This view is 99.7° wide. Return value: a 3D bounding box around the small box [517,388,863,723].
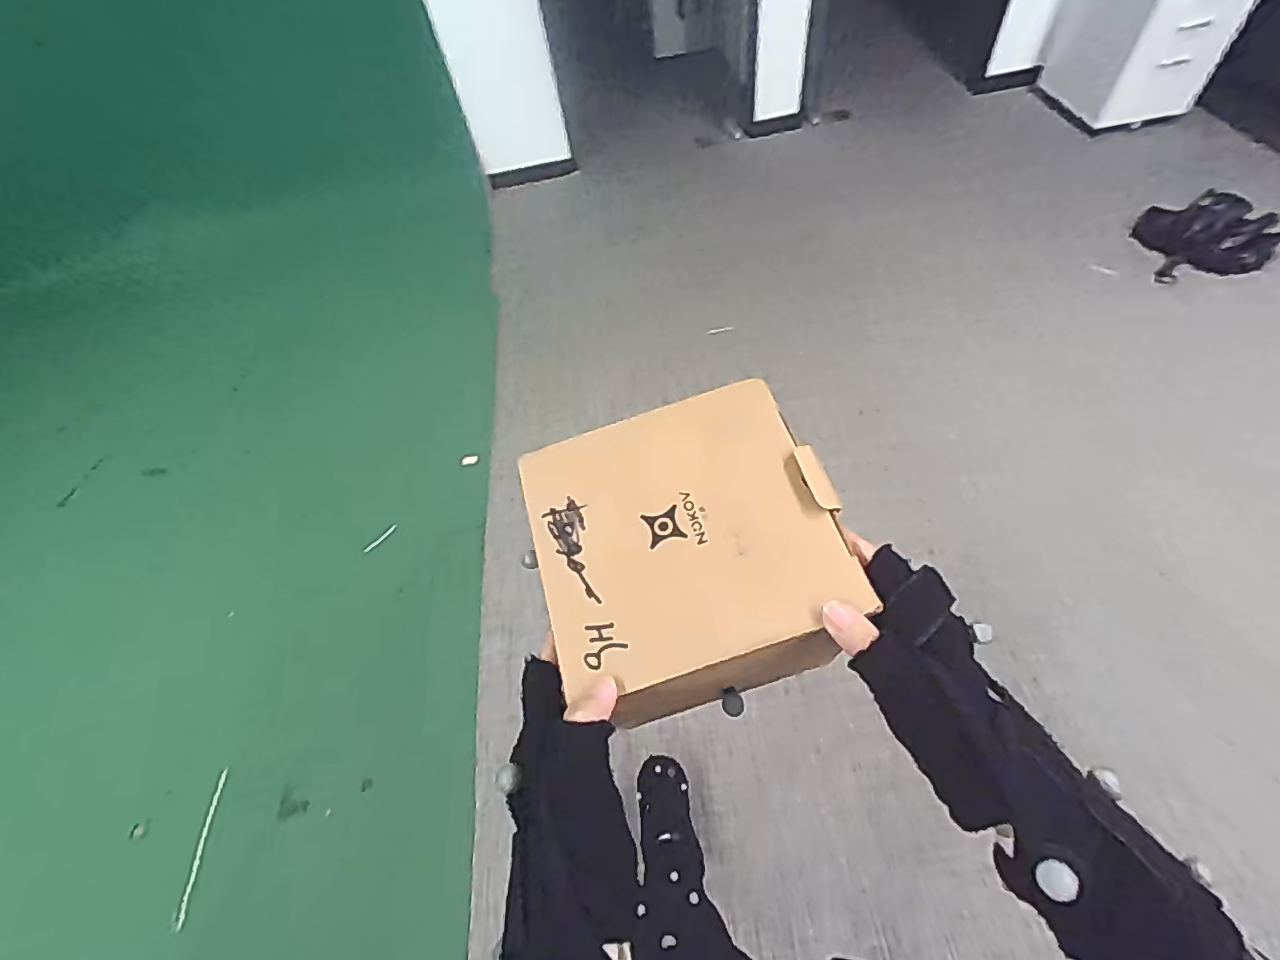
[{"bbox_3d":[0.029,0.066,0.396,0.179,0.176,0.168,-17,60,0],"label":"small box"}]
